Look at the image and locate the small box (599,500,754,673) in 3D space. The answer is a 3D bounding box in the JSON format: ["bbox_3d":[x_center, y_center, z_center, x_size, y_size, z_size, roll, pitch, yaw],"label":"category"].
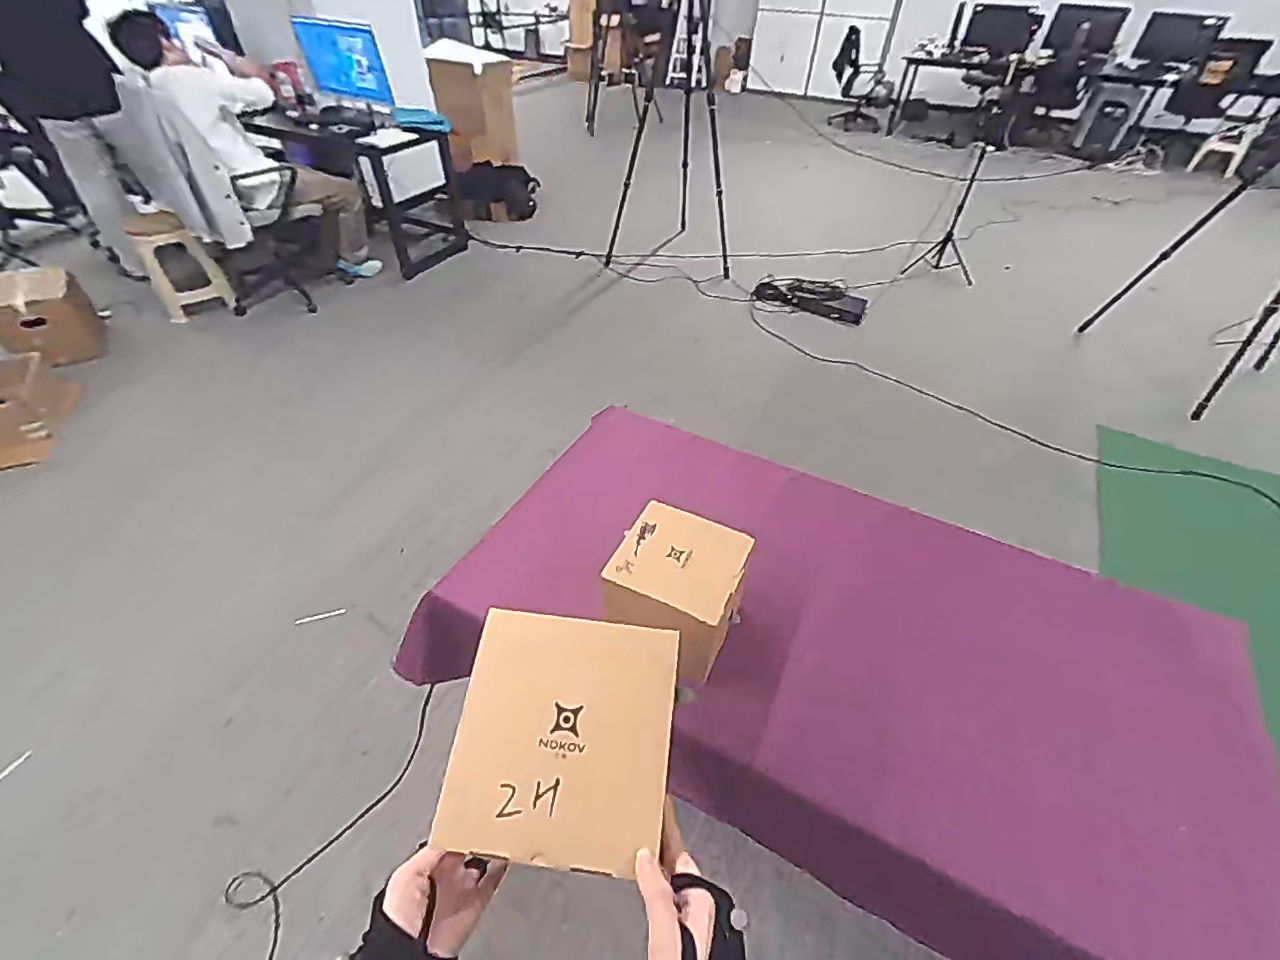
[{"bbox_3d":[0.052,0.167,0.828,0.179,0.176,0.168,21,47,17],"label":"small box"}]

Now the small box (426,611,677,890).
[{"bbox_3d":[-0.061,0.235,0.488,0.168,0.176,0.179,6,62,5],"label":"small box"}]
